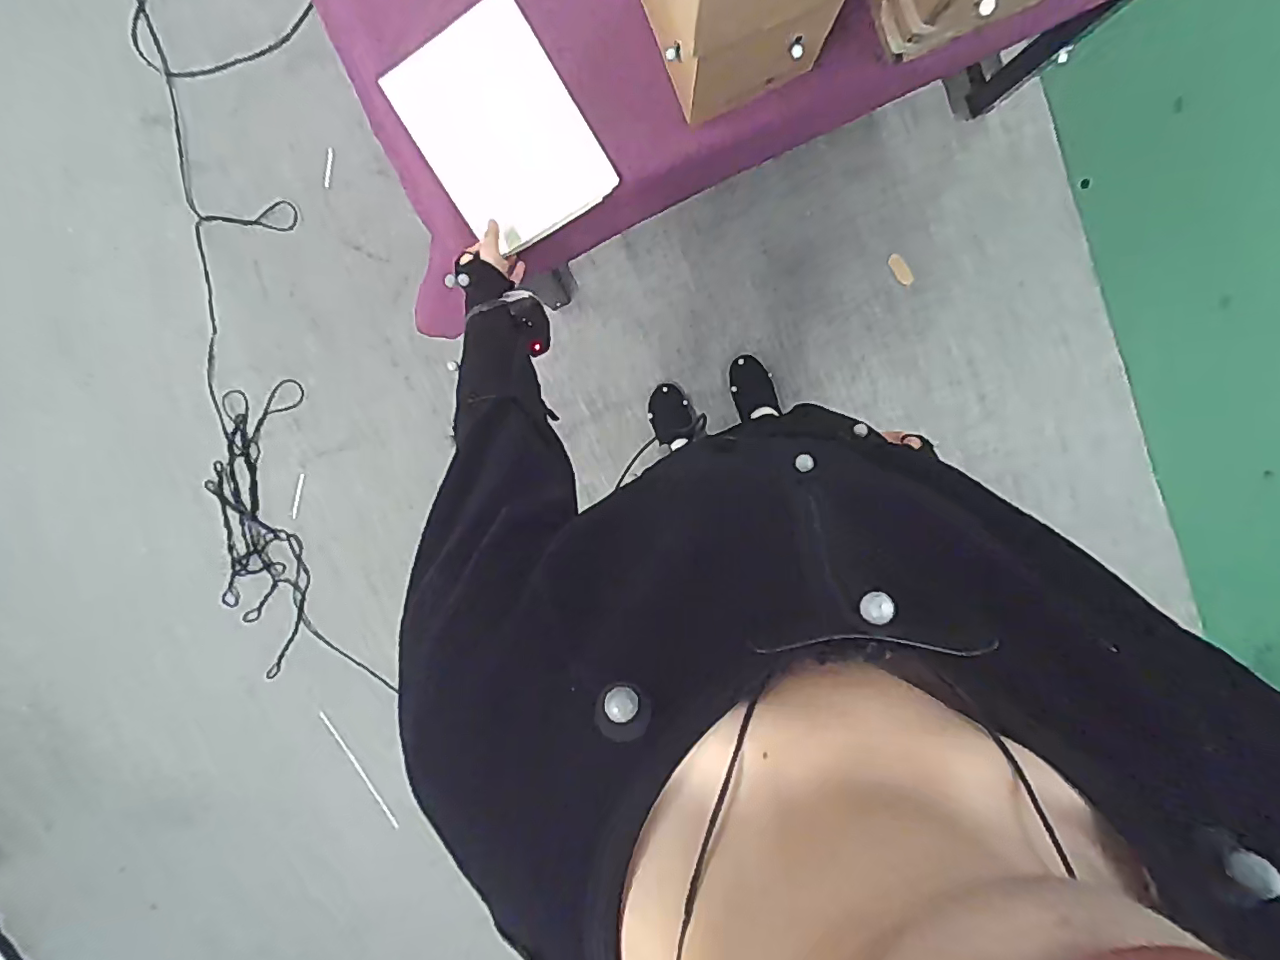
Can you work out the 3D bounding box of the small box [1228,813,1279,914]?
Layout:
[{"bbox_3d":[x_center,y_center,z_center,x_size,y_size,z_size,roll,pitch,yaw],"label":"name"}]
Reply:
[{"bbox_3d":[1.528,0.913,1.240,0.179,0.176,0.168,-34,98,8],"label":"small box"}]

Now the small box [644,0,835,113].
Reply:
[{"bbox_3d":[0.103,-0.541,0.585,0.168,0.176,0.179,-22,98,5],"label":"small box"}]

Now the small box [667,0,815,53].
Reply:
[{"bbox_3d":[0.096,-0.499,0.426,0.179,0.176,0.168,-22,98,6],"label":"small box"}]
